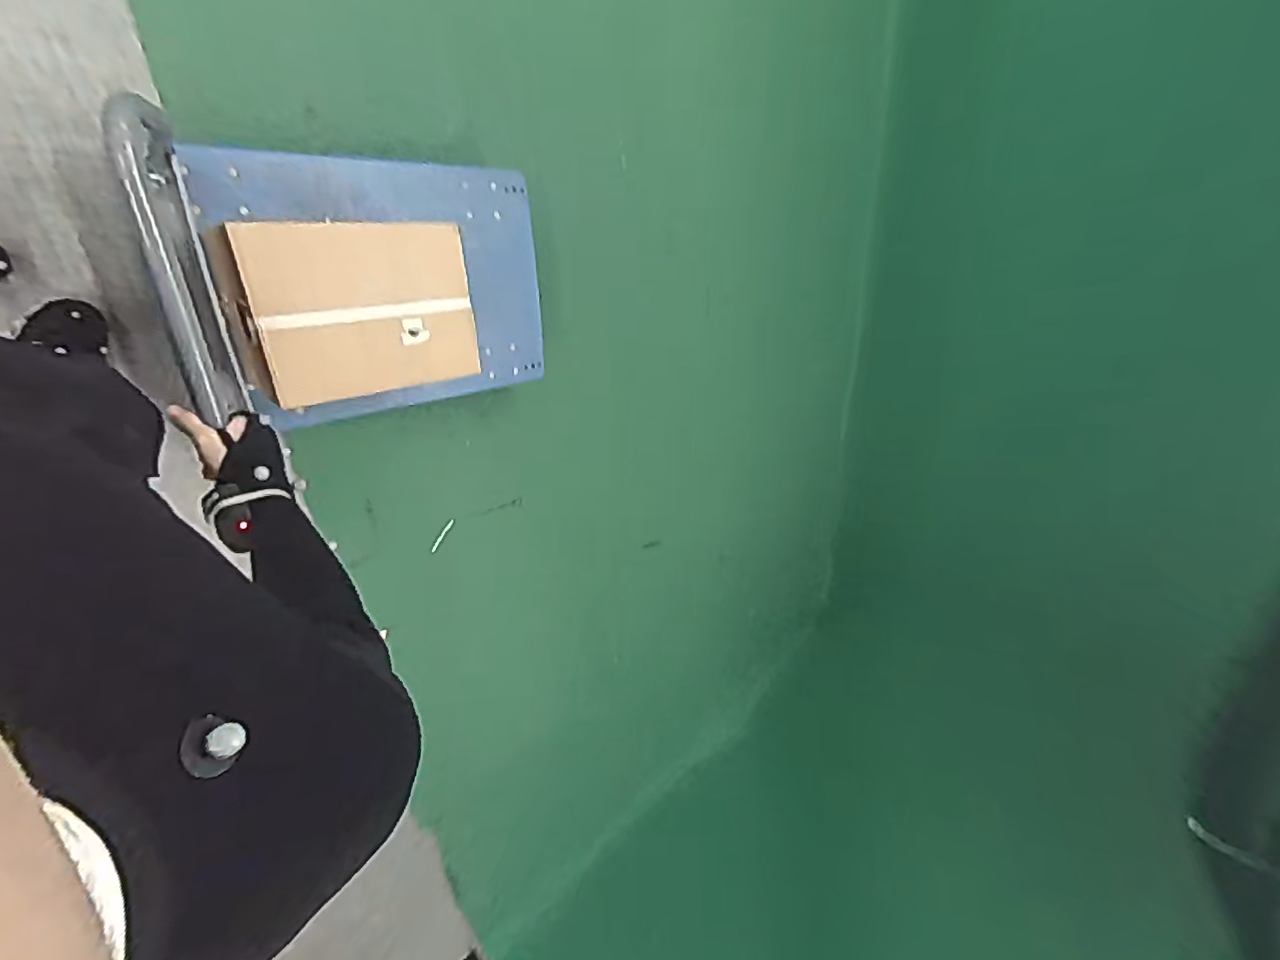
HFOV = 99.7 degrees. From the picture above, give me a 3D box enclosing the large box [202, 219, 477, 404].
[{"bbox_3d":[-0.625,-0.375,1.157,0.408,0.320,0.320,-22,120,-39],"label":"large box"}]
